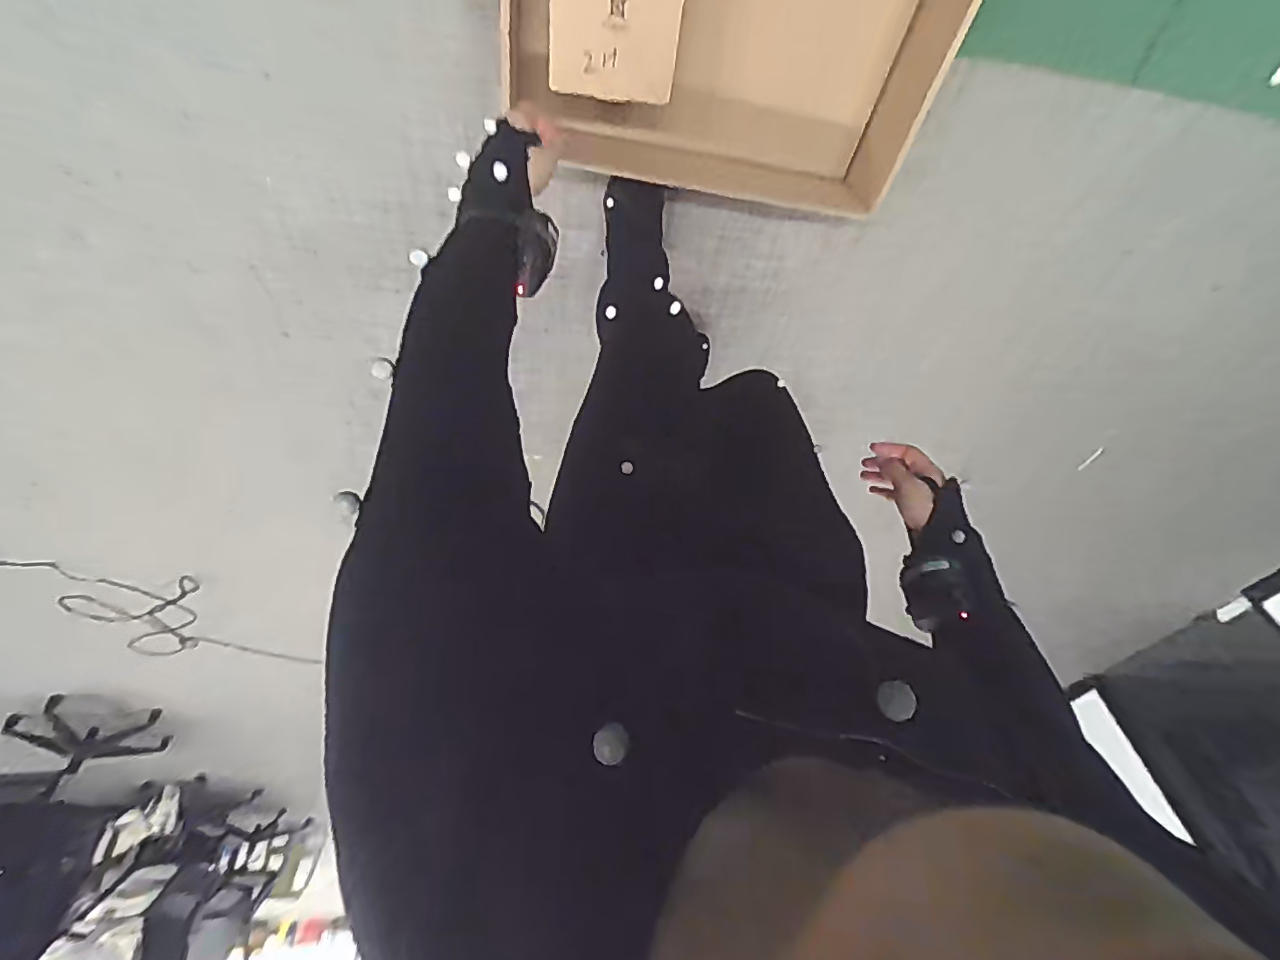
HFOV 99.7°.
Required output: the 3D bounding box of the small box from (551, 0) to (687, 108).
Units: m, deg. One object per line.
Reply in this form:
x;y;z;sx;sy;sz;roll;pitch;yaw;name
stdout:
-0.033;-0.633;0.724;0.168;0.176;0.179;2;137;-8;small box
